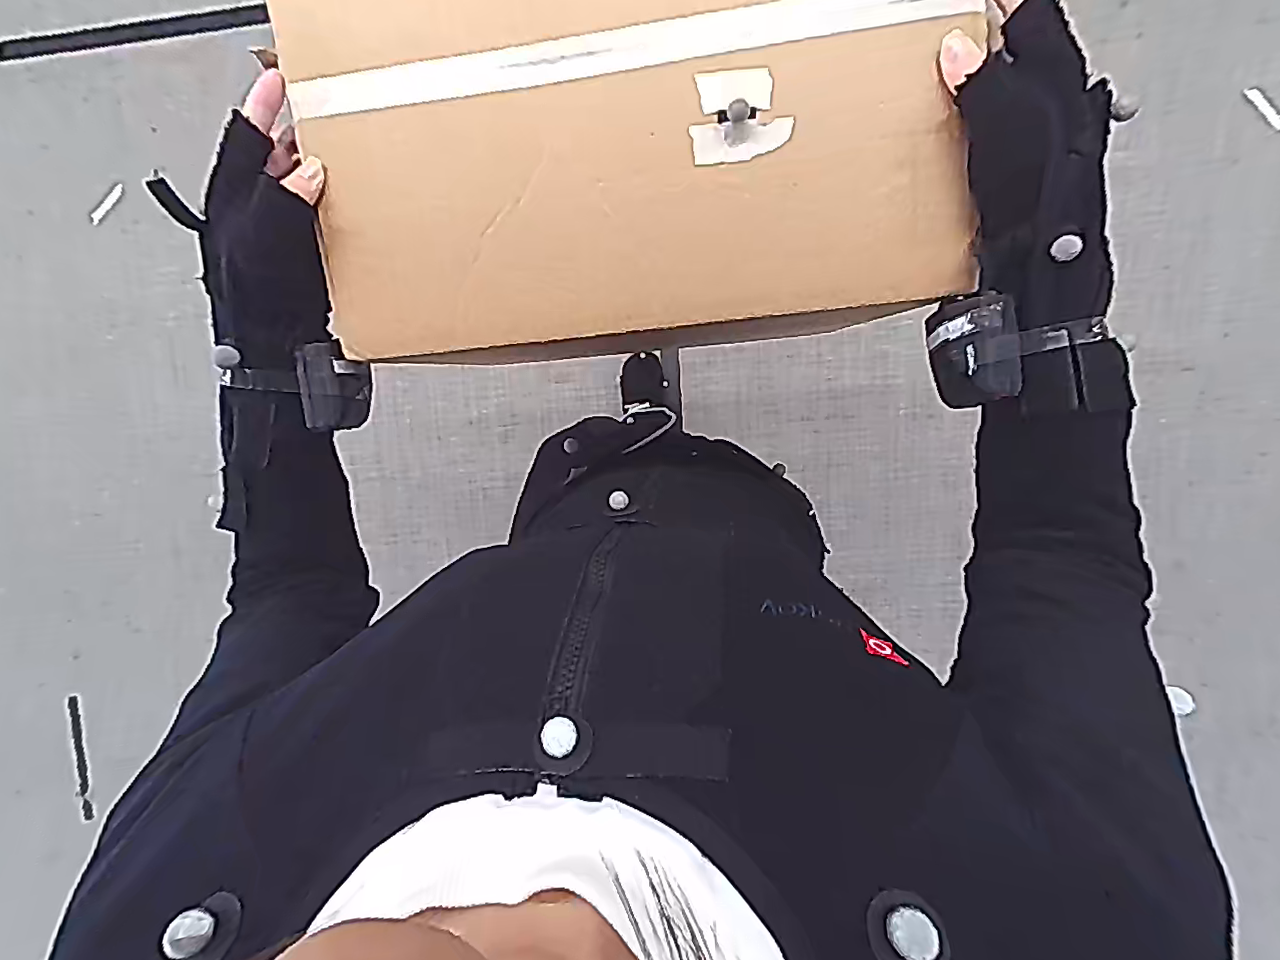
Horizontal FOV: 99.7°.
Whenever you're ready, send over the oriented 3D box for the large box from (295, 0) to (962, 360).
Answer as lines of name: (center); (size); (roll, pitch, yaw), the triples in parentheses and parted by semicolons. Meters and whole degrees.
large box: (-0.004, -0.287, 0.474); (0.408, 0.320, 0.320); (-5, 102, 4)
